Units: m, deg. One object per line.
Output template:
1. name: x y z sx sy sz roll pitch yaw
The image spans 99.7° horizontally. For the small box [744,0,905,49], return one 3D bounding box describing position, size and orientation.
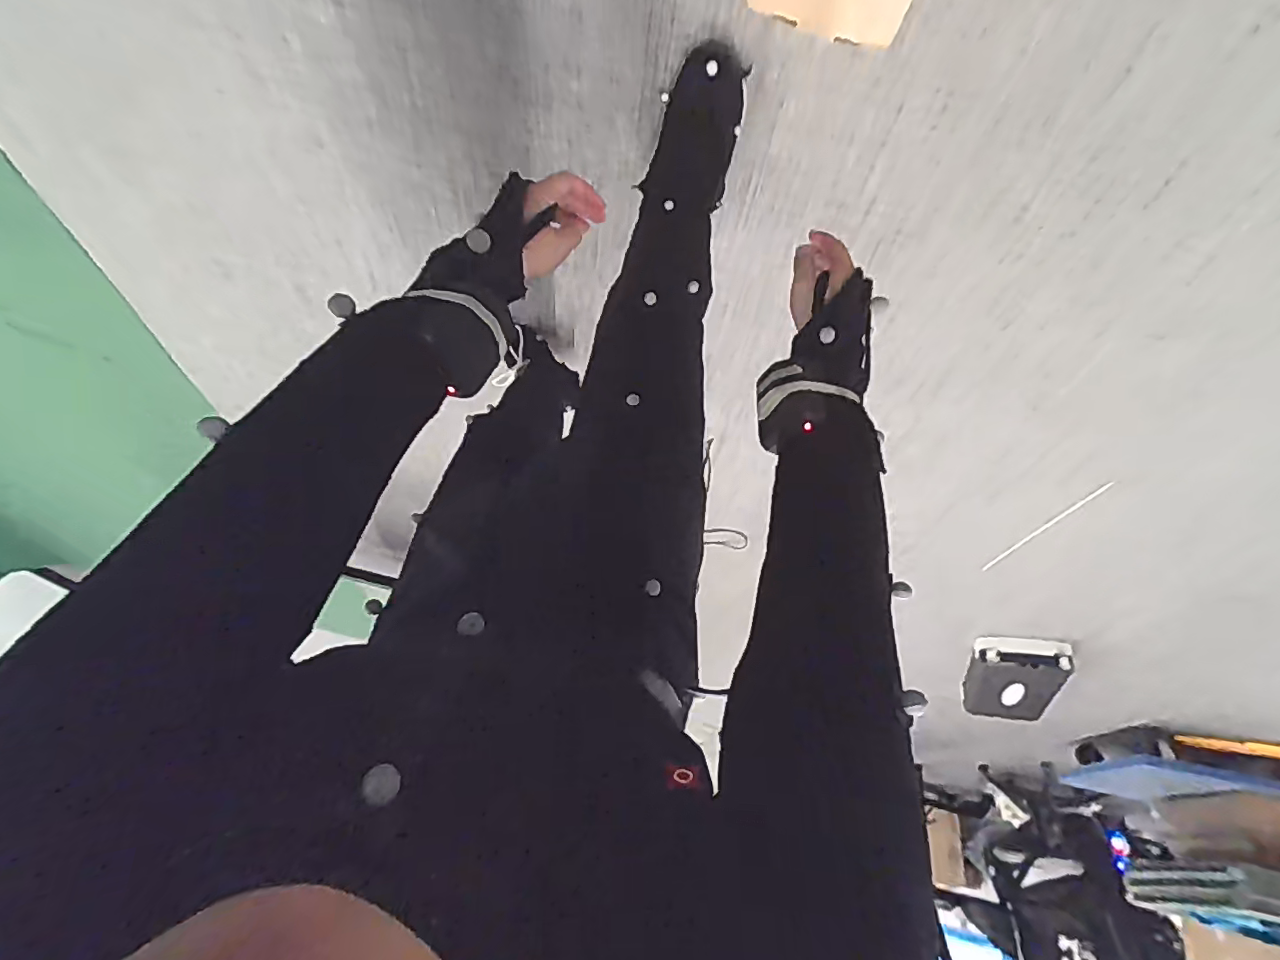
1. small box: 0.218 -0.600 0.558 0.168 0.176 0.179 15 145 -4
